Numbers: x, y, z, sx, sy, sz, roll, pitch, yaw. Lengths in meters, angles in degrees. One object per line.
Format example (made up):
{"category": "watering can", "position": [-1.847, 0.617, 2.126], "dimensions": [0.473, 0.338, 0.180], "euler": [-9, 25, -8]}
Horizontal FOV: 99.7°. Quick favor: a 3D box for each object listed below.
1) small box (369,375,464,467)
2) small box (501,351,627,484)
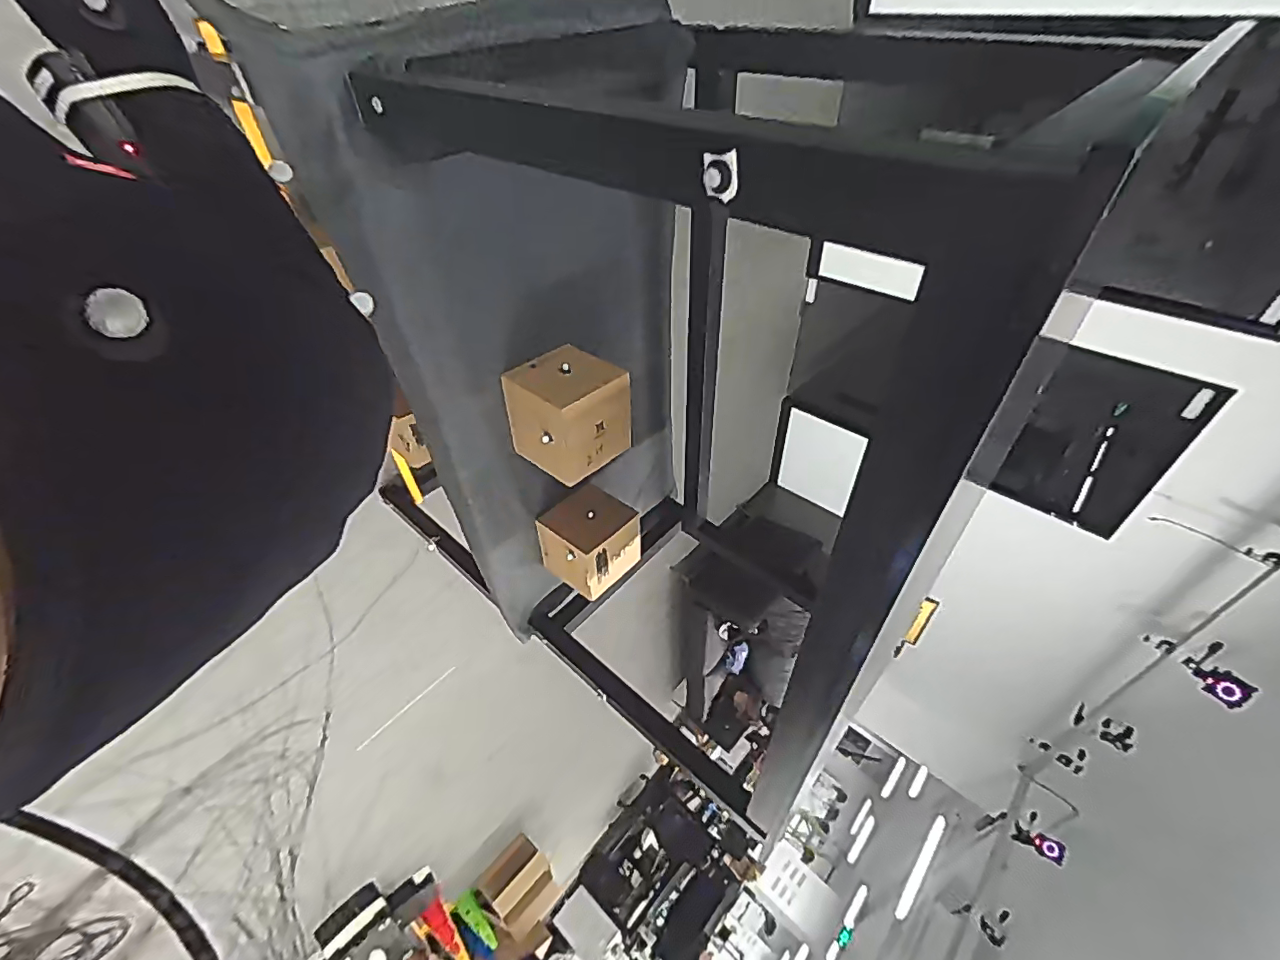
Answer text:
{"category": "small box", "position": [-0.628, -0.169, 1.509], "dimensions": [0.179, 0.176, 0.168], "euler": [-36, 143, -34]}
{"category": "small box", "position": [-0.142, -0.128, 1.025], "dimensions": [0.168, 0.176, 0.179], "euler": [-36, 143, -34]}
